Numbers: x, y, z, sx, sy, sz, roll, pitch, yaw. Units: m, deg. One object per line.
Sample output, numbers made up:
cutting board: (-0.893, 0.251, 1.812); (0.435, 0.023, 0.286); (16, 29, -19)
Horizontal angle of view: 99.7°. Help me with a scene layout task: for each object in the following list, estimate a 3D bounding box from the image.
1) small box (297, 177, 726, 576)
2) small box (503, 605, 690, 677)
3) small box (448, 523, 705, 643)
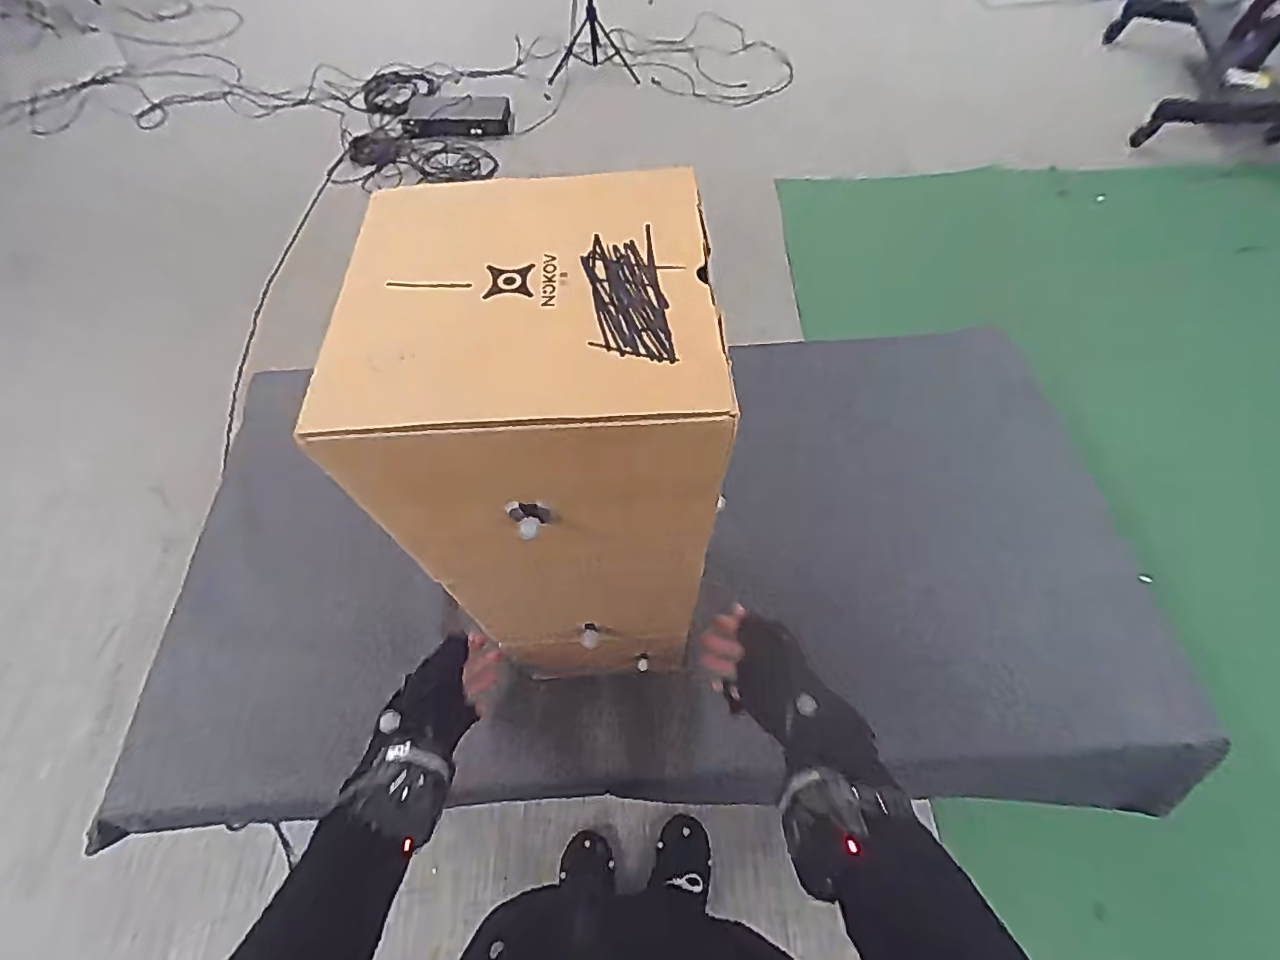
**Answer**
small box: (-0.053, -0.049, 0.325); (0.179, 0.176, 0.168); (-3, 59, 0)
small box: (-0.043, 0.116, 0.608); (0.179, 0.176, 0.168); (-6, 59, 0)
small box: (-0.049, 0.035, 0.469); (0.179, 0.176, 0.168); (-7, 61, -2)
